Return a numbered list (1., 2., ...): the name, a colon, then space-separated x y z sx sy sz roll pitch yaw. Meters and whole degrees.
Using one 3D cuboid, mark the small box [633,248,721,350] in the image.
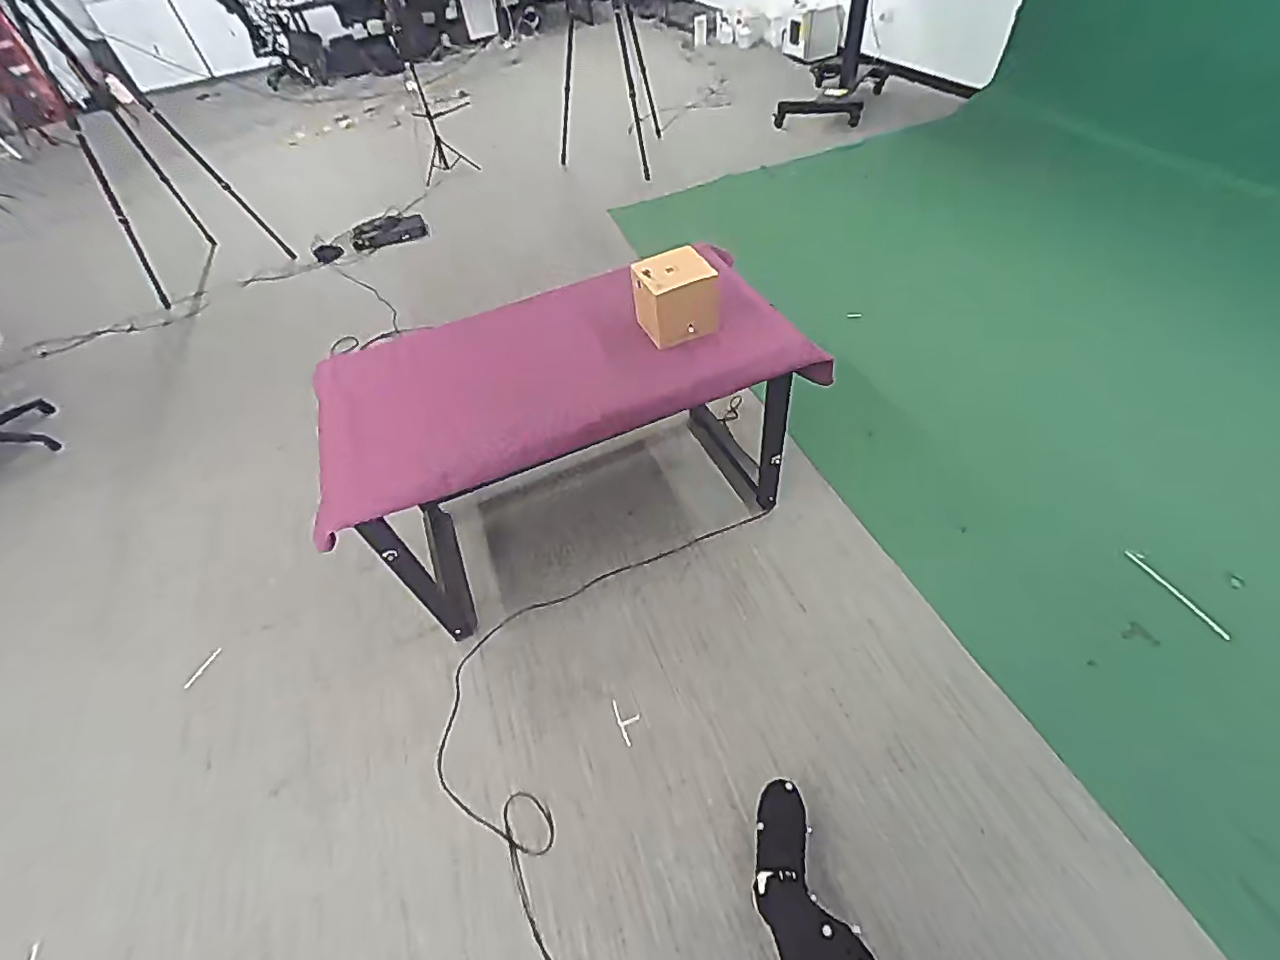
1. small box: 0.095 -0.471 1.413 0.179 0.176 0.168 -21 51 -10
